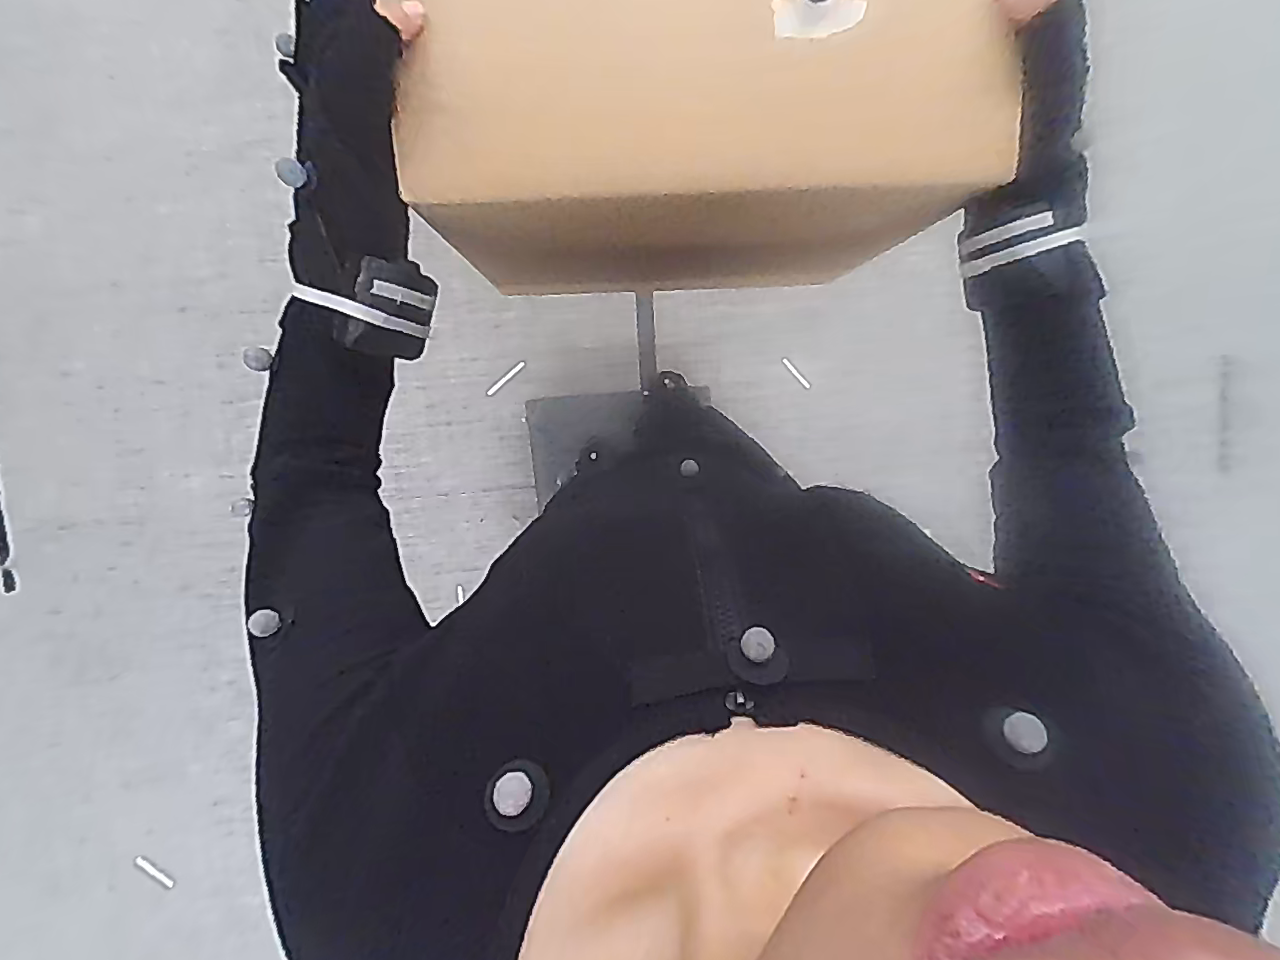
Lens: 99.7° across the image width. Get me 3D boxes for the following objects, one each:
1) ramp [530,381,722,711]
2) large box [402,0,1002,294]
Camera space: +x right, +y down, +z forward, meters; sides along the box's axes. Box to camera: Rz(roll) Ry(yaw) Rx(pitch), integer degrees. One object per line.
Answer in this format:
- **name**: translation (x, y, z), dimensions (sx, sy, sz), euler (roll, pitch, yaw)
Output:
- **ramp**: translation (-0.011, 0.228, 1.571), dimensions (0.509, 0.206, 0.991), euler (-7, 97, -4)
- **large box**: translation (0.034, -0.371, 0.497), dimensions (0.408, 0.320, 0.320), euler (-3, 98, -2)
